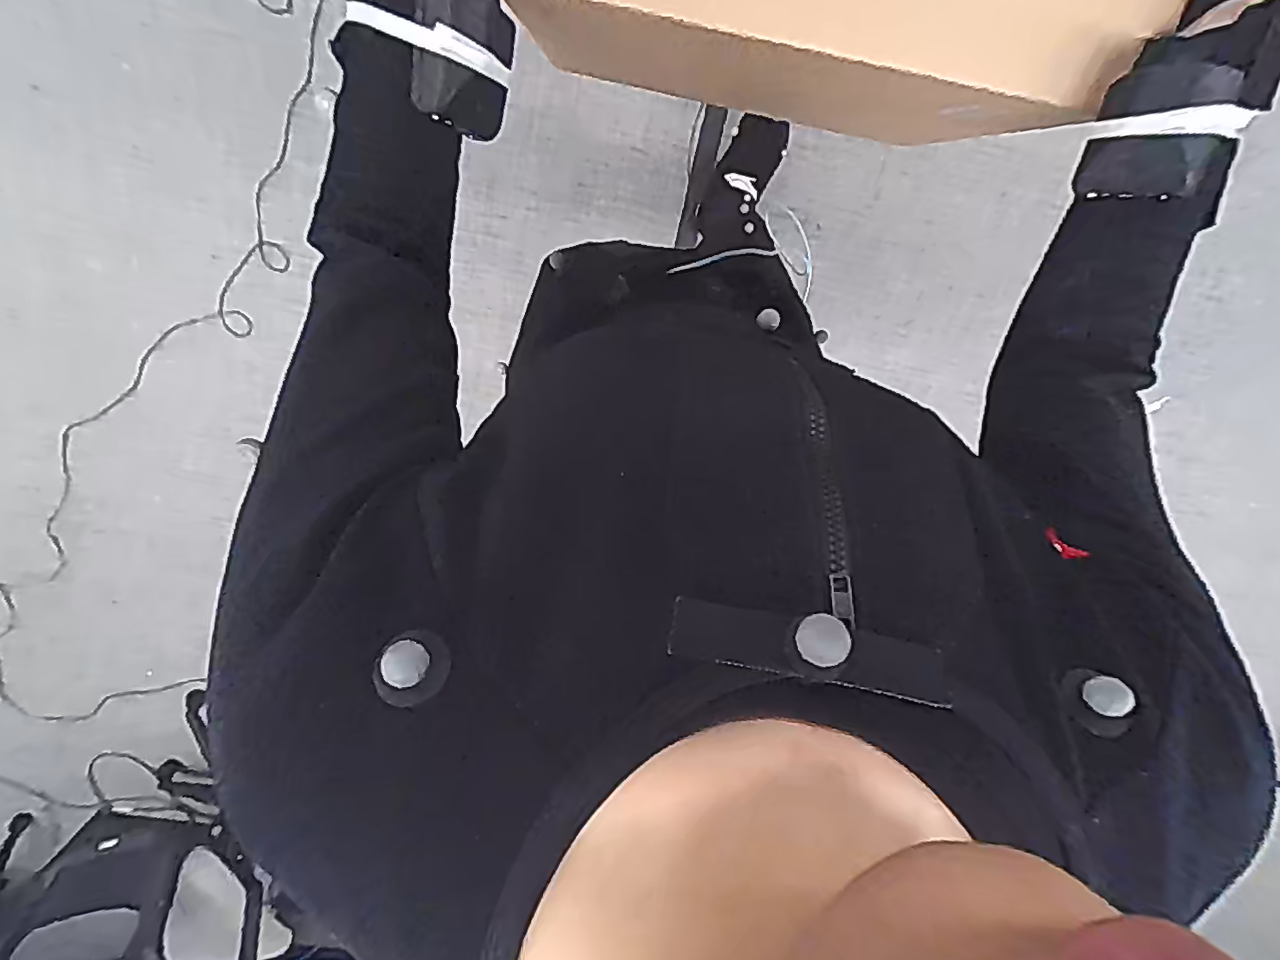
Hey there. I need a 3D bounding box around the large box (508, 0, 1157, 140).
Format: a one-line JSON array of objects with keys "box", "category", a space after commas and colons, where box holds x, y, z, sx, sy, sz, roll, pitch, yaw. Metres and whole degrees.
[{"box": [0.126, -0.467, 0.392, 0.408, 0.320, 0.320, 8, 120, -6], "category": "large box"}]
